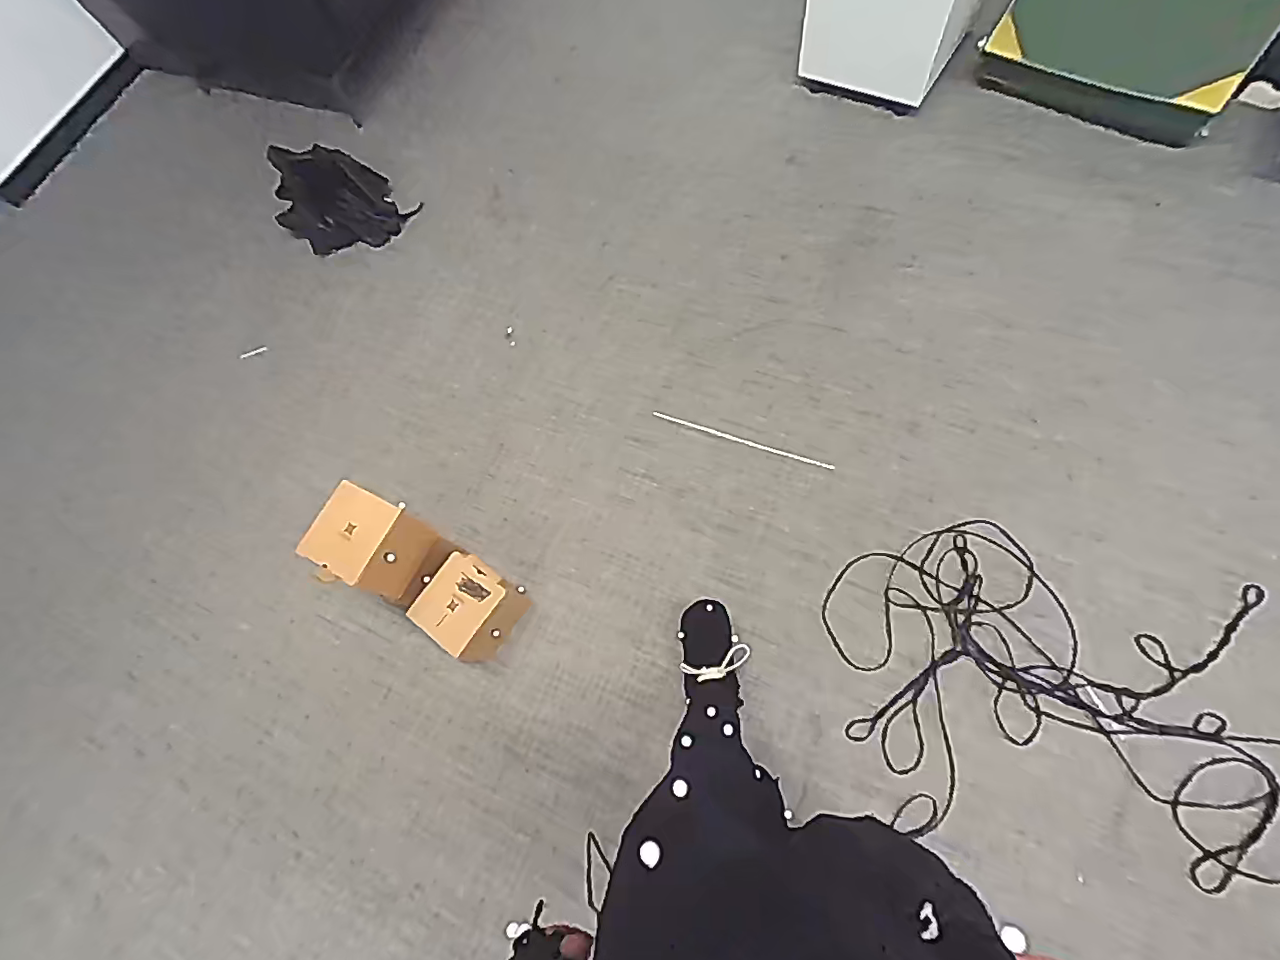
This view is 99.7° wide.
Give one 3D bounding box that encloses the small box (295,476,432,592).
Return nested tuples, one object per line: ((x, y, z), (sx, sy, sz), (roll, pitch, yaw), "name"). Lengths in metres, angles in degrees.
((-0.580, 0.122, 1.167), (0.168, 0.176, 0.179), (24, 76, 15), "small box")

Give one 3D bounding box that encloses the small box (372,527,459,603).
((-0.575, 0.185, 1.319), (0.168, 0.176, 0.179), (24, 76, 16), "small box")
